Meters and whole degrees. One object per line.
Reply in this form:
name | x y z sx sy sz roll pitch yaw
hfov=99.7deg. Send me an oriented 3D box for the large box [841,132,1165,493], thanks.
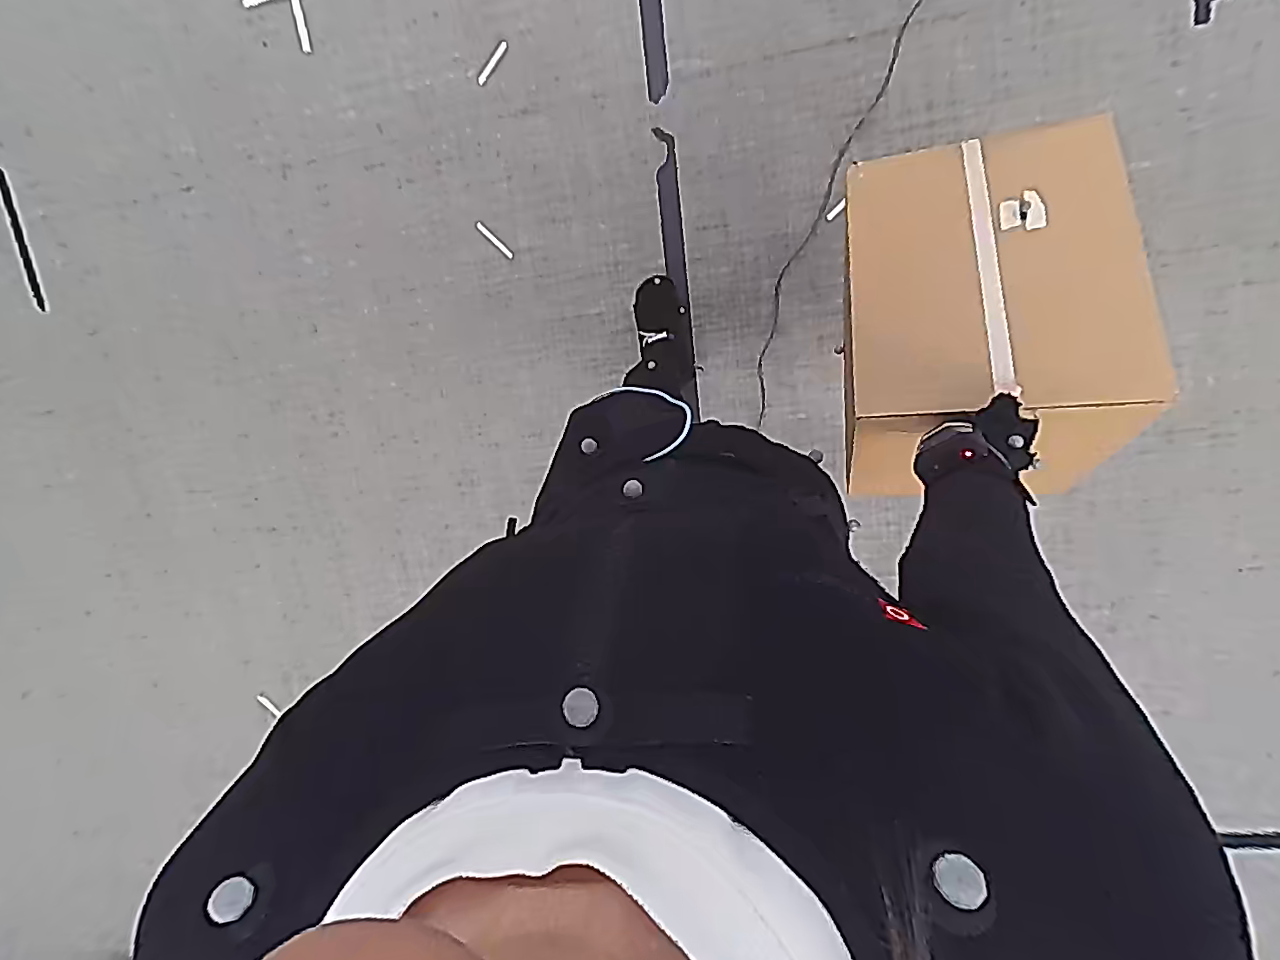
large box | 0.480 -0.218 0.823 0.320 0.320 0.408 -1 69 18
